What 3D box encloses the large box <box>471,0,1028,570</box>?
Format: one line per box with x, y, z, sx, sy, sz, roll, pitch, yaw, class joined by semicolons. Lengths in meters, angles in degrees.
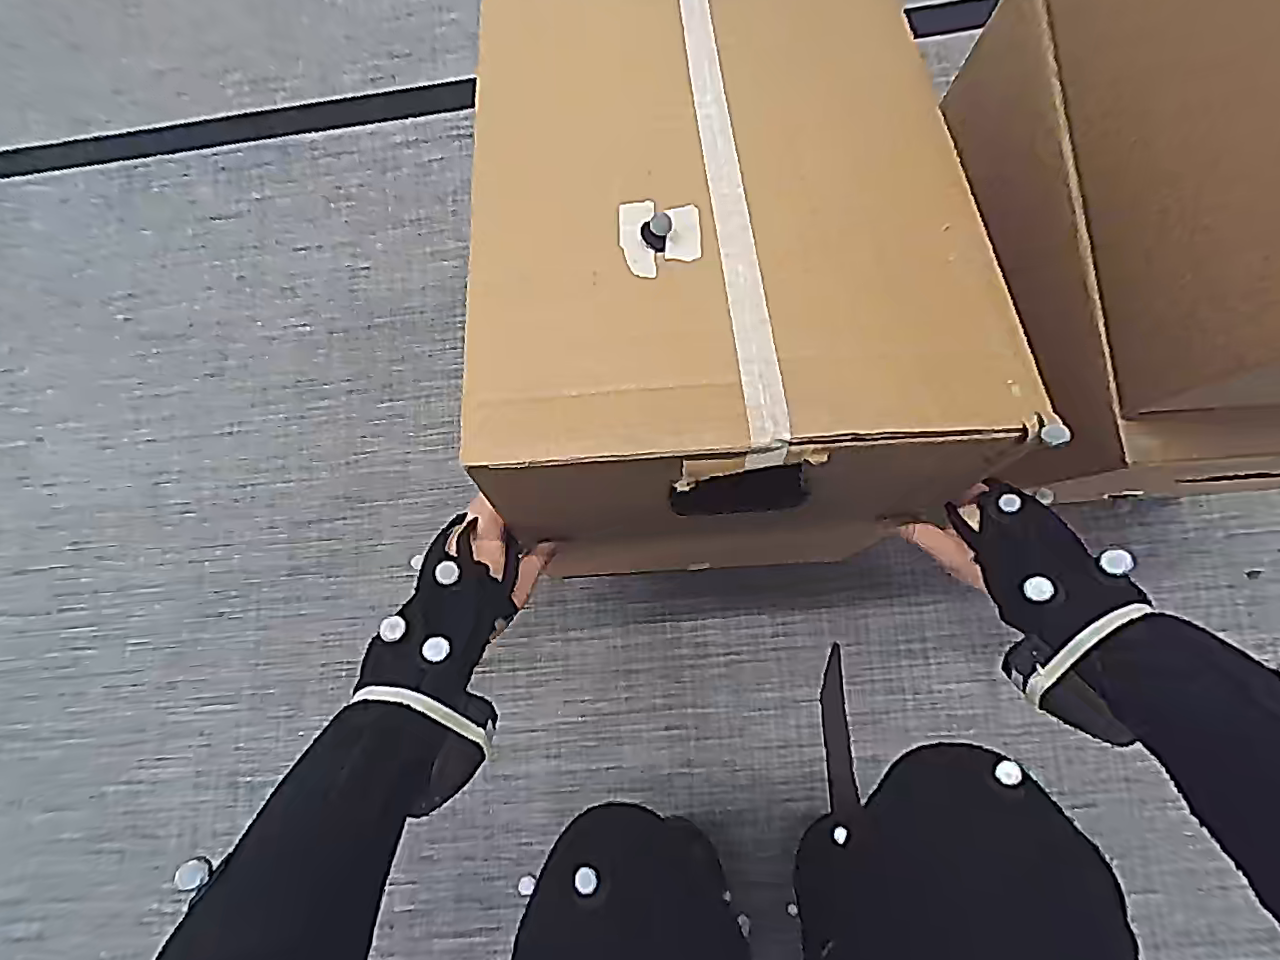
0.041;-0.152;0.496;0.320;0.320;0.408;-4;70;-2;large box
